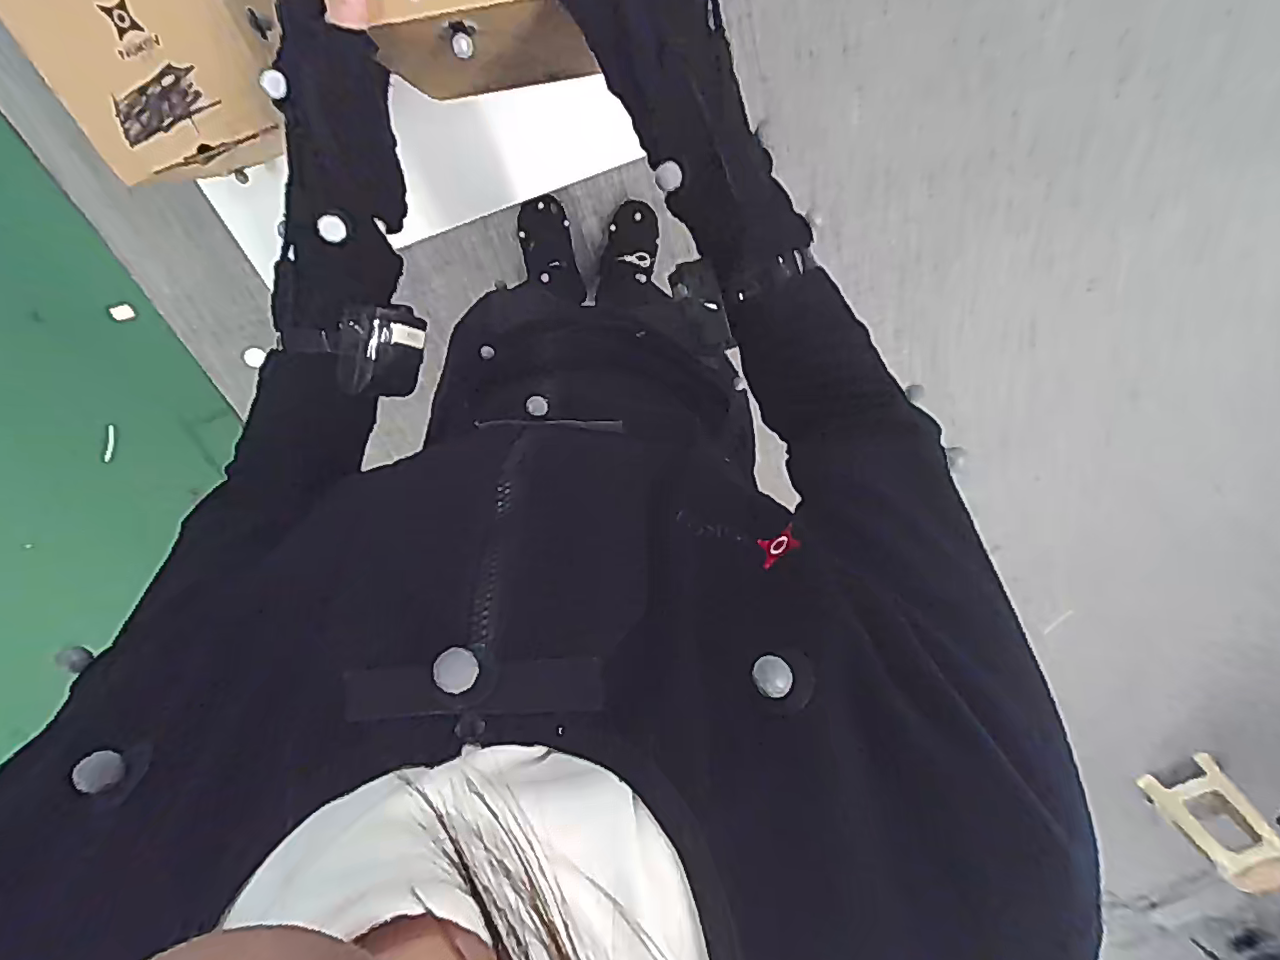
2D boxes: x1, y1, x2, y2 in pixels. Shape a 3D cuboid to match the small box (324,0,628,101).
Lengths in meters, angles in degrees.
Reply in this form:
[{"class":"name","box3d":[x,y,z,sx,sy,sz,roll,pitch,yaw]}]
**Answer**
[{"class":"small box","box3d":[-0.099,-0.368,0.334,0.168,0.176,0.179,-7,113,3]}]
